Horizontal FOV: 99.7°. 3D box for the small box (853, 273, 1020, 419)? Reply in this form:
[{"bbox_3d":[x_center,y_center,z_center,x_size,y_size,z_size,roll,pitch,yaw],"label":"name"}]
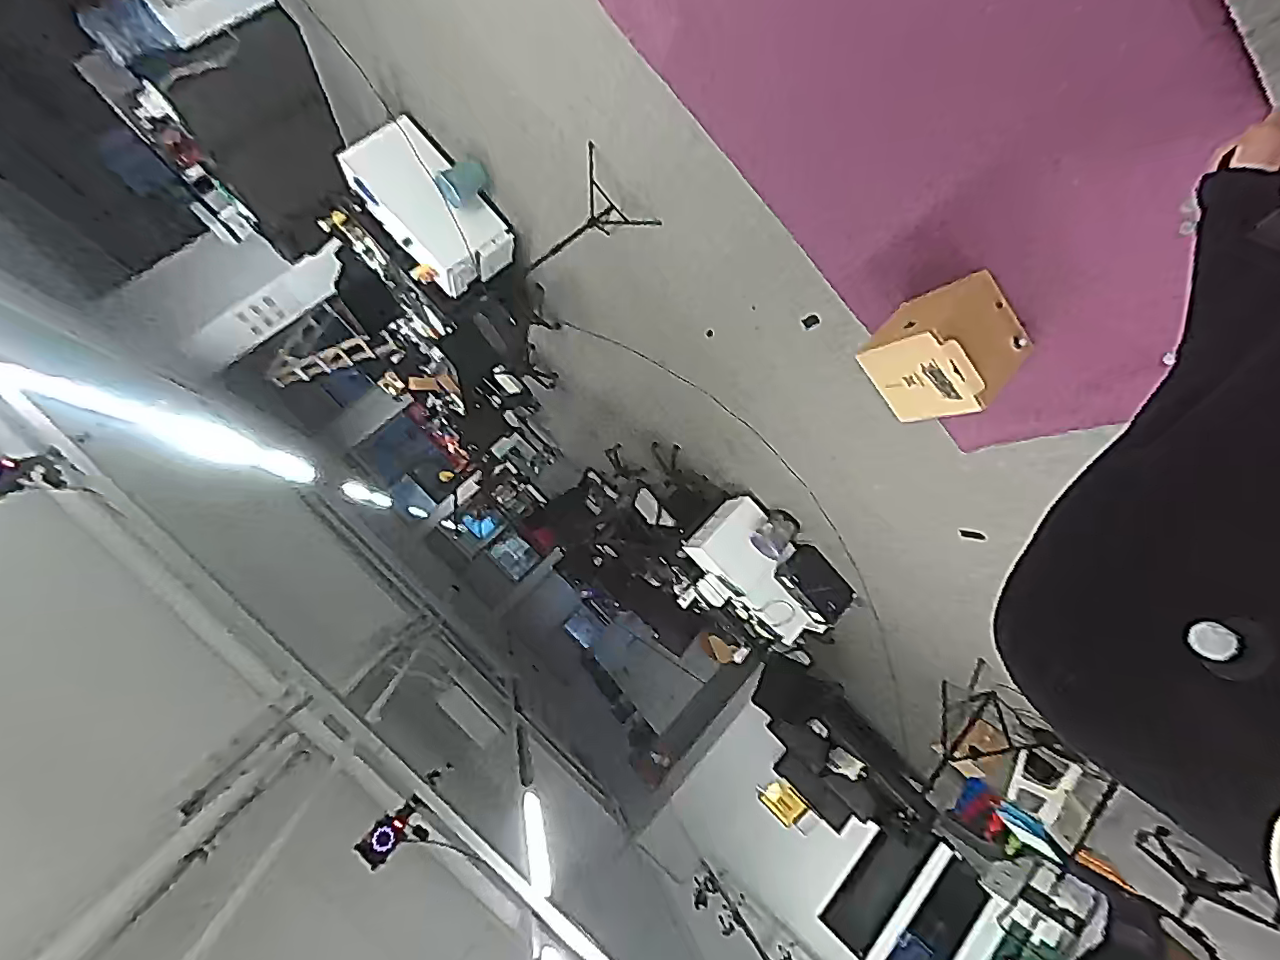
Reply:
[{"bbox_3d":[0.528,-0.232,0.957,0.168,0.176,0.179,49,165,-12],"label":"small box"}]
